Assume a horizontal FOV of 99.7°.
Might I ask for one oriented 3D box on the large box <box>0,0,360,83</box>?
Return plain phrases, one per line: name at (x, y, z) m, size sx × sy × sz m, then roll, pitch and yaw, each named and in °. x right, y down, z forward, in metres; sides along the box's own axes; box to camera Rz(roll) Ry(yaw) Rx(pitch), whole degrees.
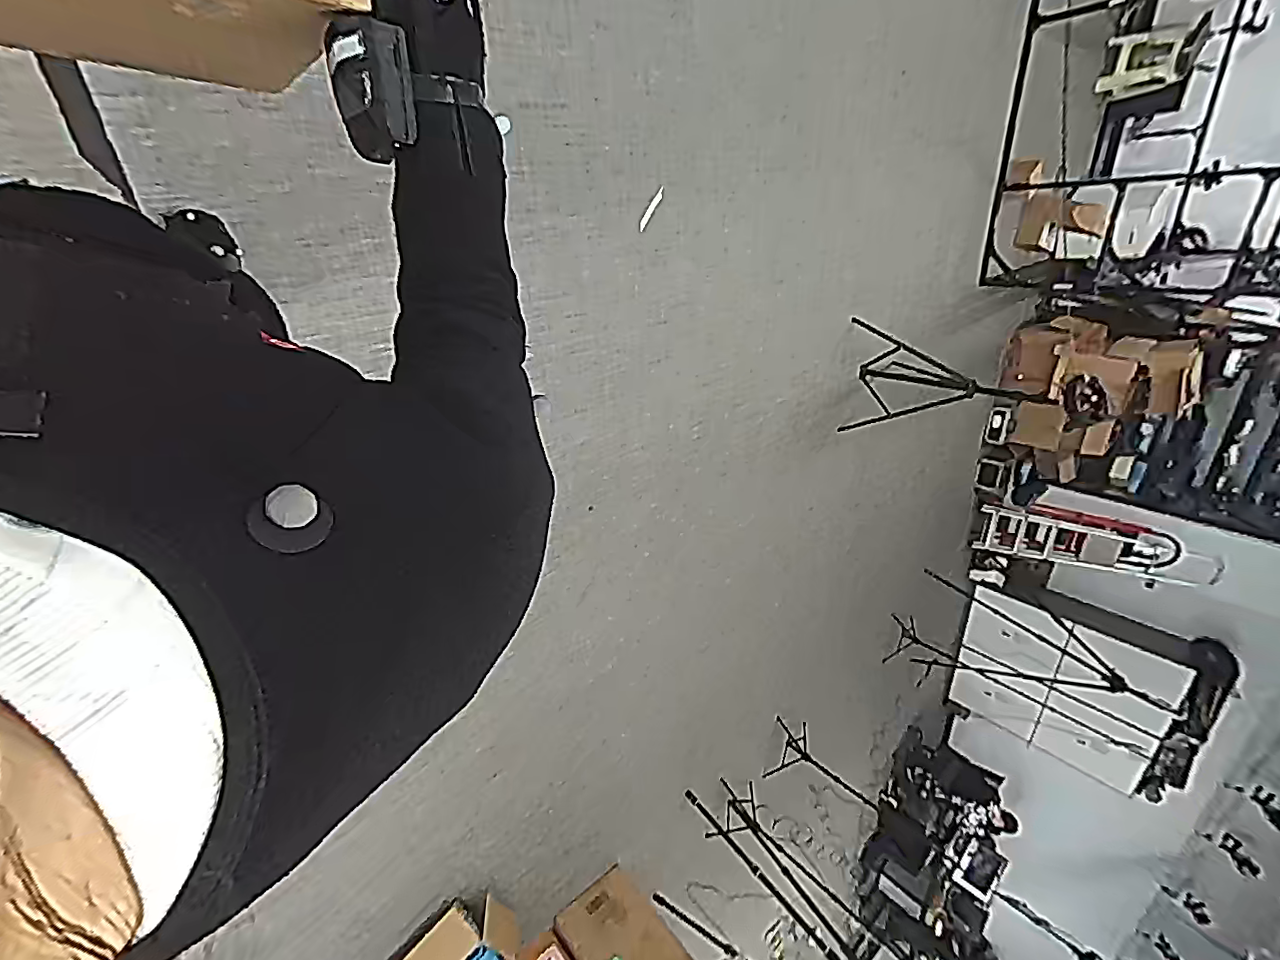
large box at (-0.401, -0.416, 0.237) m, size 0.408 × 0.320 × 0.320 m, roll -17°, pitch 122°, yaw -37°
